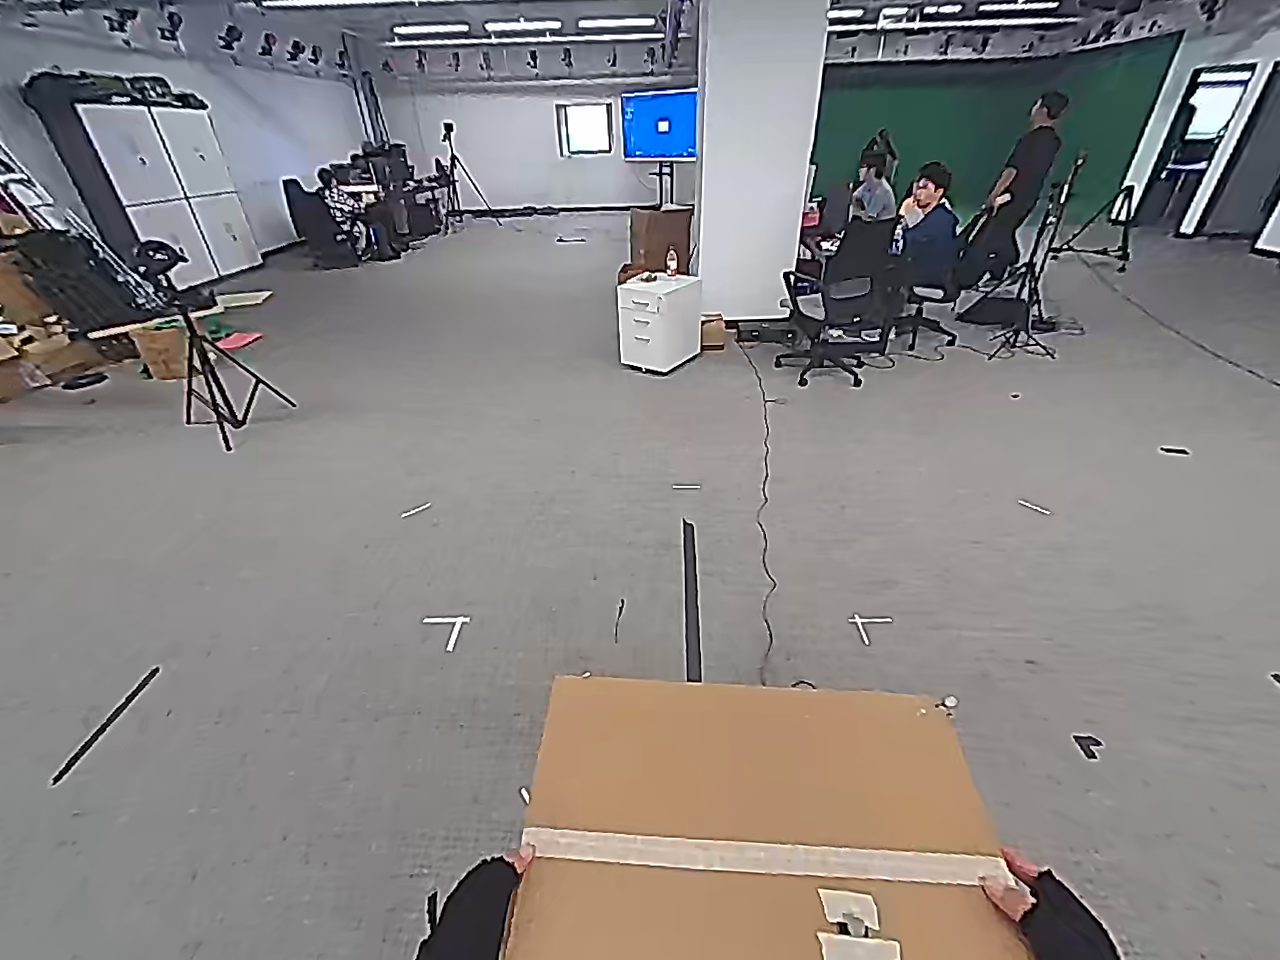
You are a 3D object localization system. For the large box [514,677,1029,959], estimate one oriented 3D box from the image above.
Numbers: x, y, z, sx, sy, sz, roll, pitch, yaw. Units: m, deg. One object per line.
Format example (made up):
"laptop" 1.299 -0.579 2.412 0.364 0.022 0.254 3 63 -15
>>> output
"large box" 0.105 0.435 0.567 0.408 0.320 0.320 2 41 4
